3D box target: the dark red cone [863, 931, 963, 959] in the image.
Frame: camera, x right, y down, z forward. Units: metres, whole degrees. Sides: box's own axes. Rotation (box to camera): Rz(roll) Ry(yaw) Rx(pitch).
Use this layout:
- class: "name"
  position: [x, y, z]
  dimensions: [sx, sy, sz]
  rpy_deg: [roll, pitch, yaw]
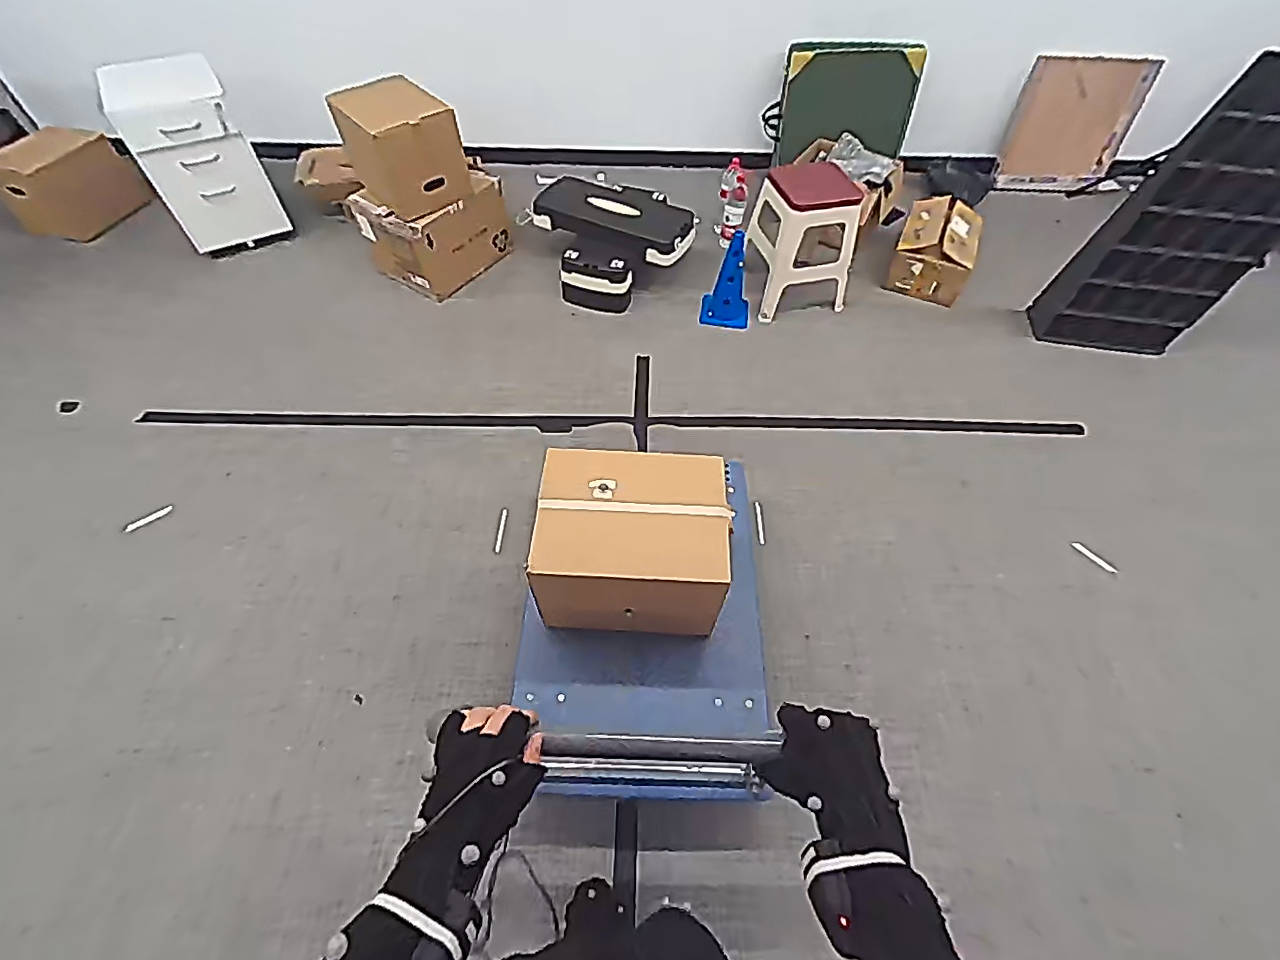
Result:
- class: "dark red cone"
  position: [0.552, 0.906, 0.906]
  dimensions: [0.201, 0.394, 0.202]
  rpy_deg: [3, 55, -2]

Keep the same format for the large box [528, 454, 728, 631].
- class: "large box"
  position: [-0.020, 0.155, 1.271]
  dimensions: [0.408, 0.320, 0.320]
  rpy_deg: [3, 55, 1]
